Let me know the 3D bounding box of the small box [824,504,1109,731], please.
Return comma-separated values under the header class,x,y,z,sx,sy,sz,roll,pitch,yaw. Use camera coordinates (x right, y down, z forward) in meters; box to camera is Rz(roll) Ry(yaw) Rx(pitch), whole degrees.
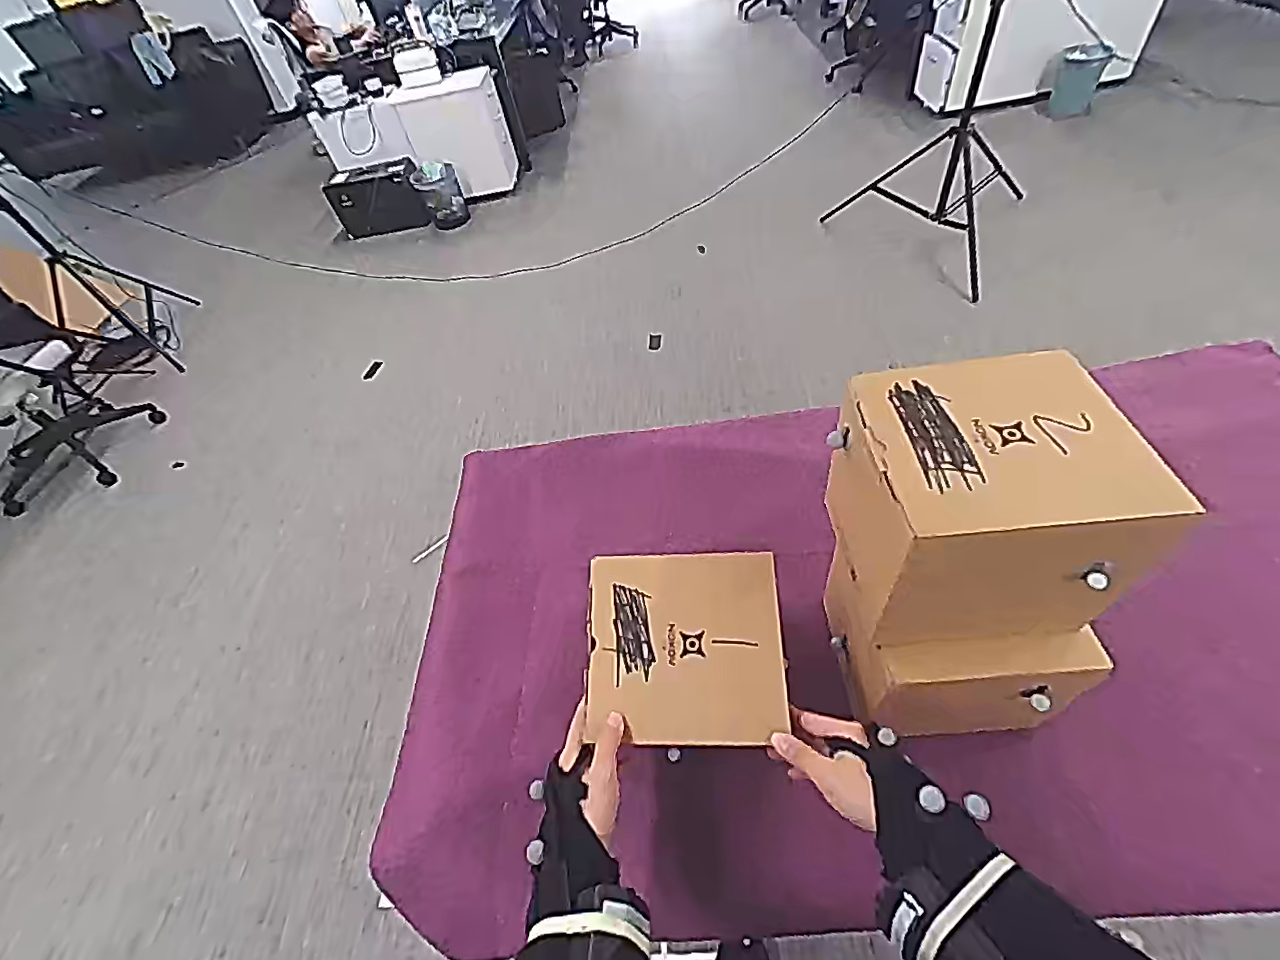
class,x,y,z,sx,sy,sz,roll,pitch,yaw
small box,0.302,0.145,0.552,0.179,0.176,0.168,-6,48,6
